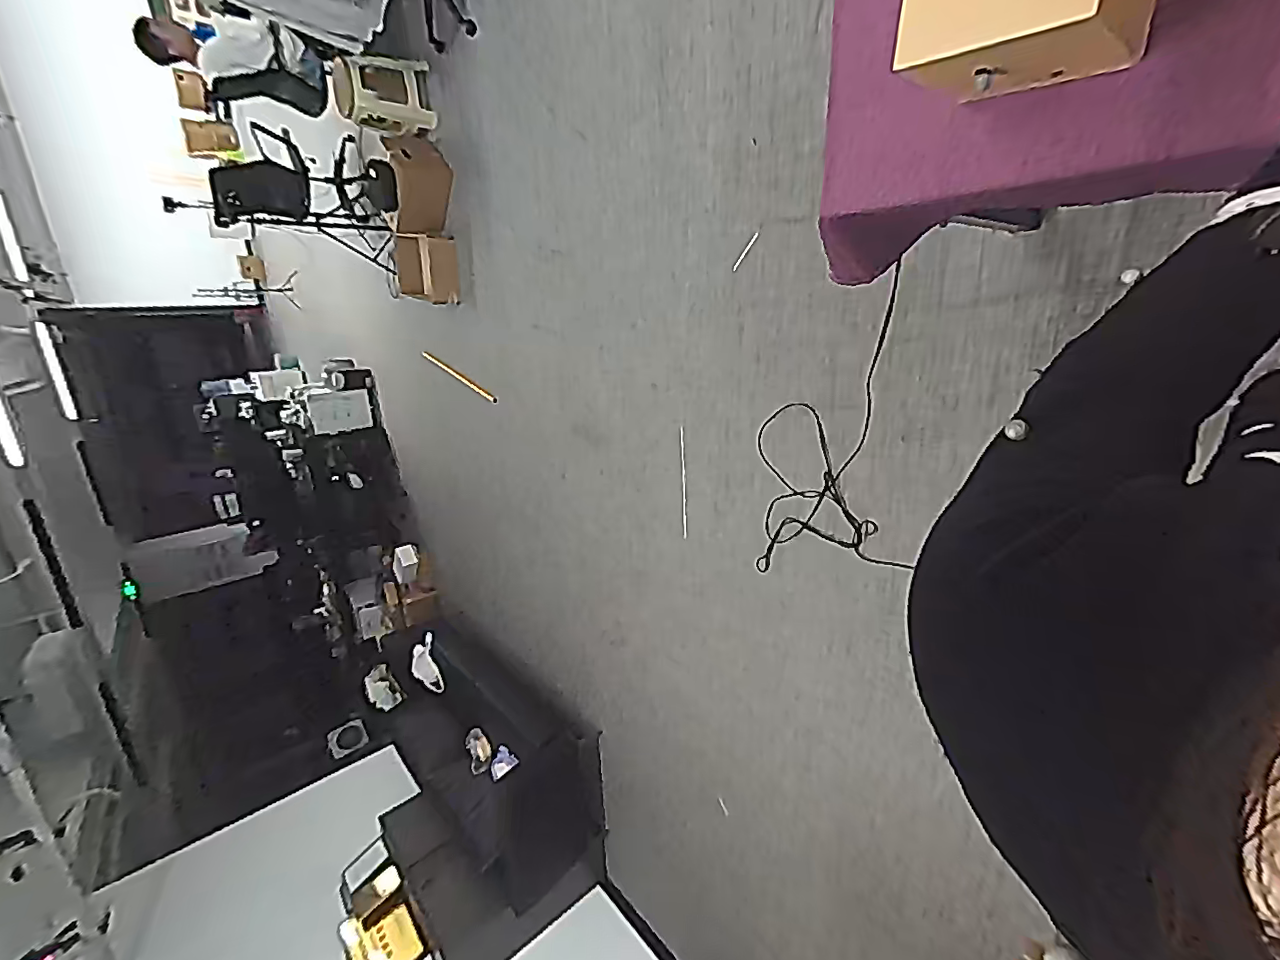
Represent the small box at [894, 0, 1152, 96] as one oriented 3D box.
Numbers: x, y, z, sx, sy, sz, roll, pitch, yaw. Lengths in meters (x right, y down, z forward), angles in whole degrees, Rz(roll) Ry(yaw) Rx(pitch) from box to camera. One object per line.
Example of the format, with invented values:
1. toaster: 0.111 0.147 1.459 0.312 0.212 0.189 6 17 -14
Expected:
1. small box: 0.372 -0.488 0.509 0.168 0.176 0.179 23 119 46
